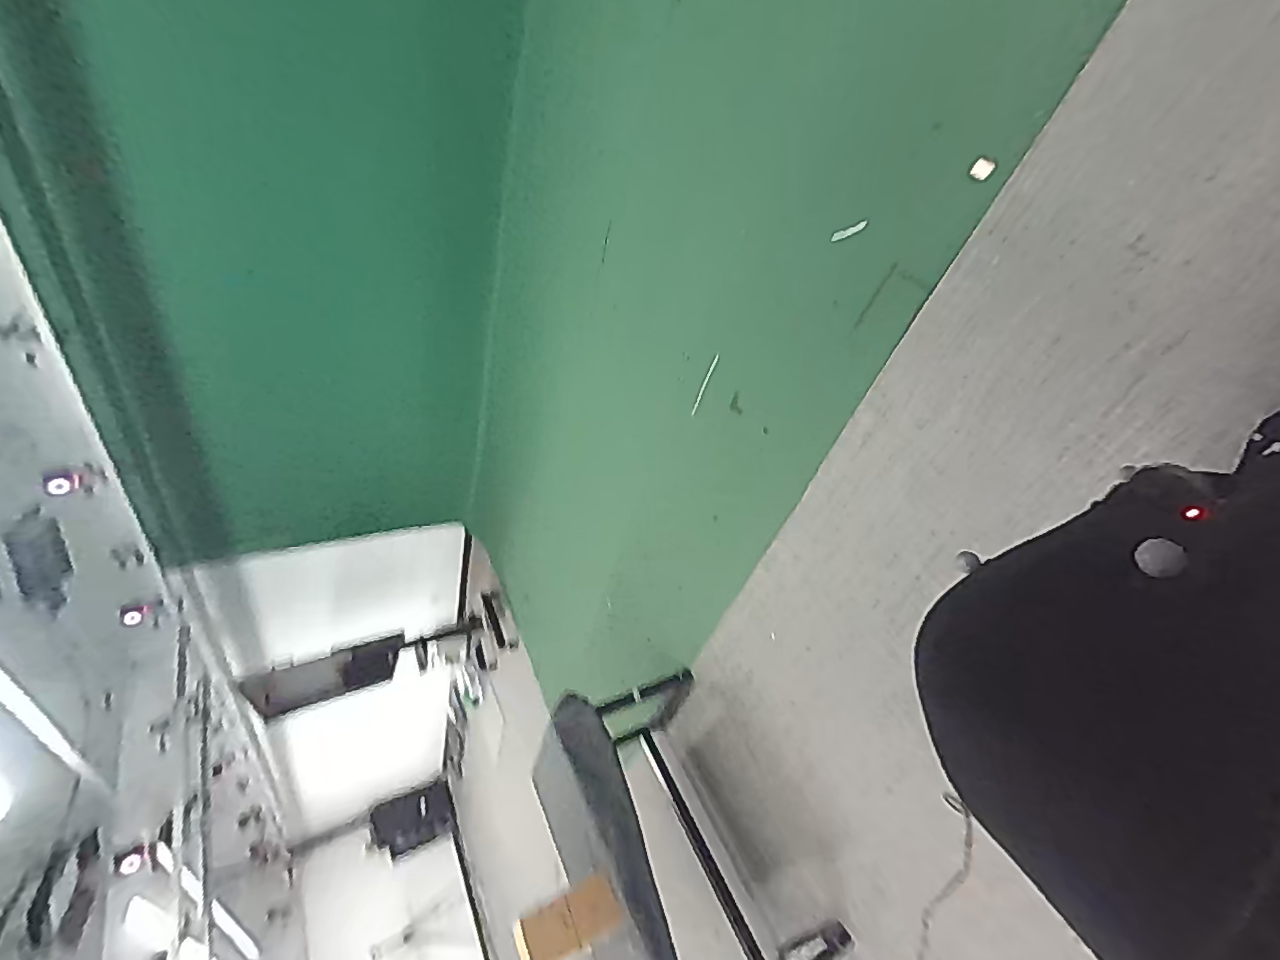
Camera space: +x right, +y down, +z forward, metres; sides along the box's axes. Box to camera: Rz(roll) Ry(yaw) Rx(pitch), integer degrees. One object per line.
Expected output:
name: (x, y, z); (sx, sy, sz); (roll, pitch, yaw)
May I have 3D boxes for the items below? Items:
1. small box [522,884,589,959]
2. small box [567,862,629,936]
small box: (-0.298, 1.560, 1.901); (0.179, 0.176, 0.168); (57, 143, 35)
small box: (-0.162, 1.539, 1.985); (0.179, 0.176, 0.168); (58, 145, 33)
